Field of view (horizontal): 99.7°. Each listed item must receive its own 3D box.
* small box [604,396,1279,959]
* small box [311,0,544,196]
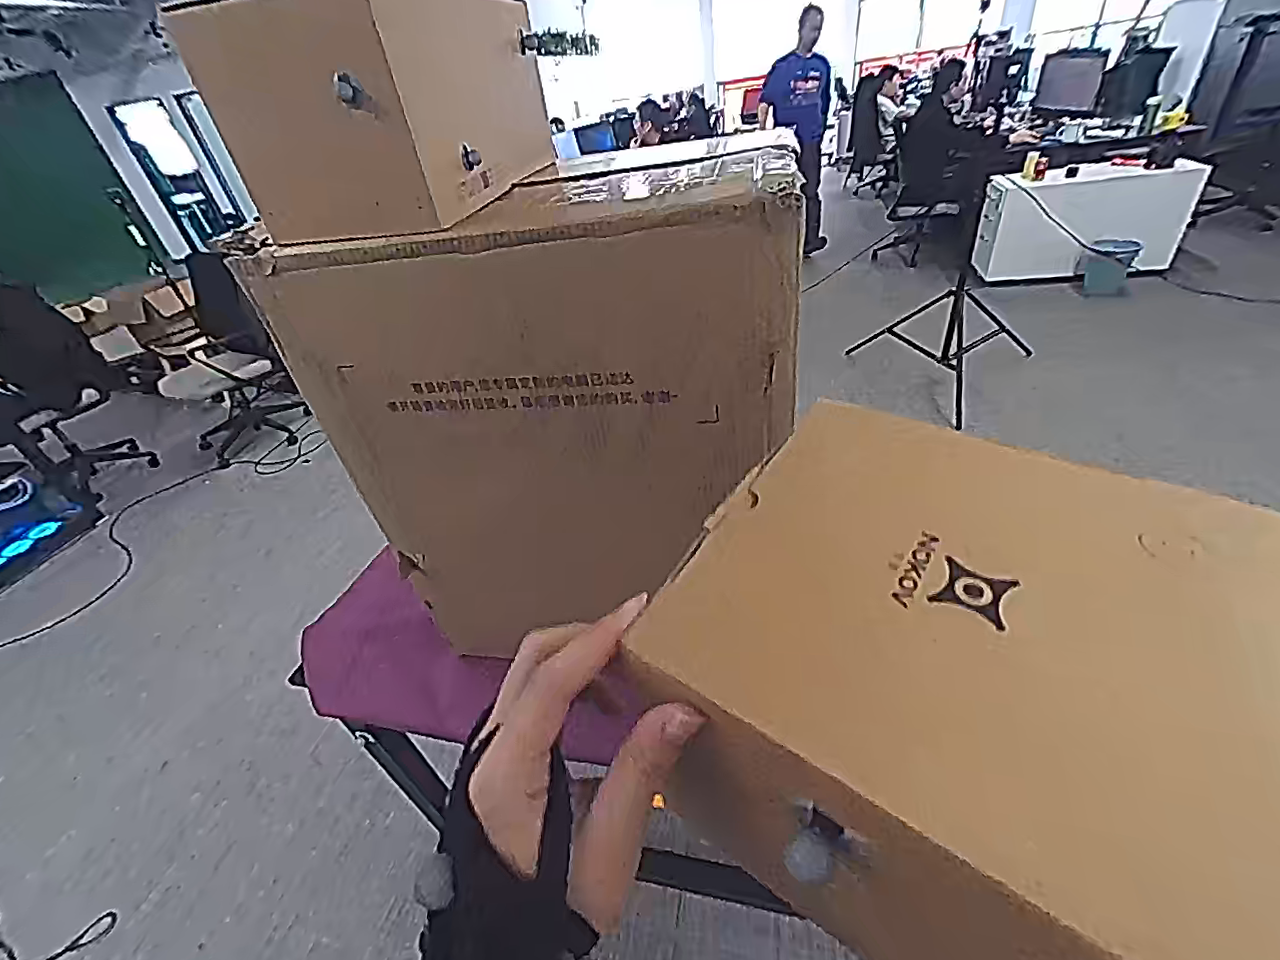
[{"bbox_3d":[0.115,0.094,0.229,0.179,0.176,0.168,21,51,33],"label":"small box"},{"bbox_3d":[-0.223,-0.439,0.627,0.168,0.176,0.179,1,37,13],"label":"small box"}]
